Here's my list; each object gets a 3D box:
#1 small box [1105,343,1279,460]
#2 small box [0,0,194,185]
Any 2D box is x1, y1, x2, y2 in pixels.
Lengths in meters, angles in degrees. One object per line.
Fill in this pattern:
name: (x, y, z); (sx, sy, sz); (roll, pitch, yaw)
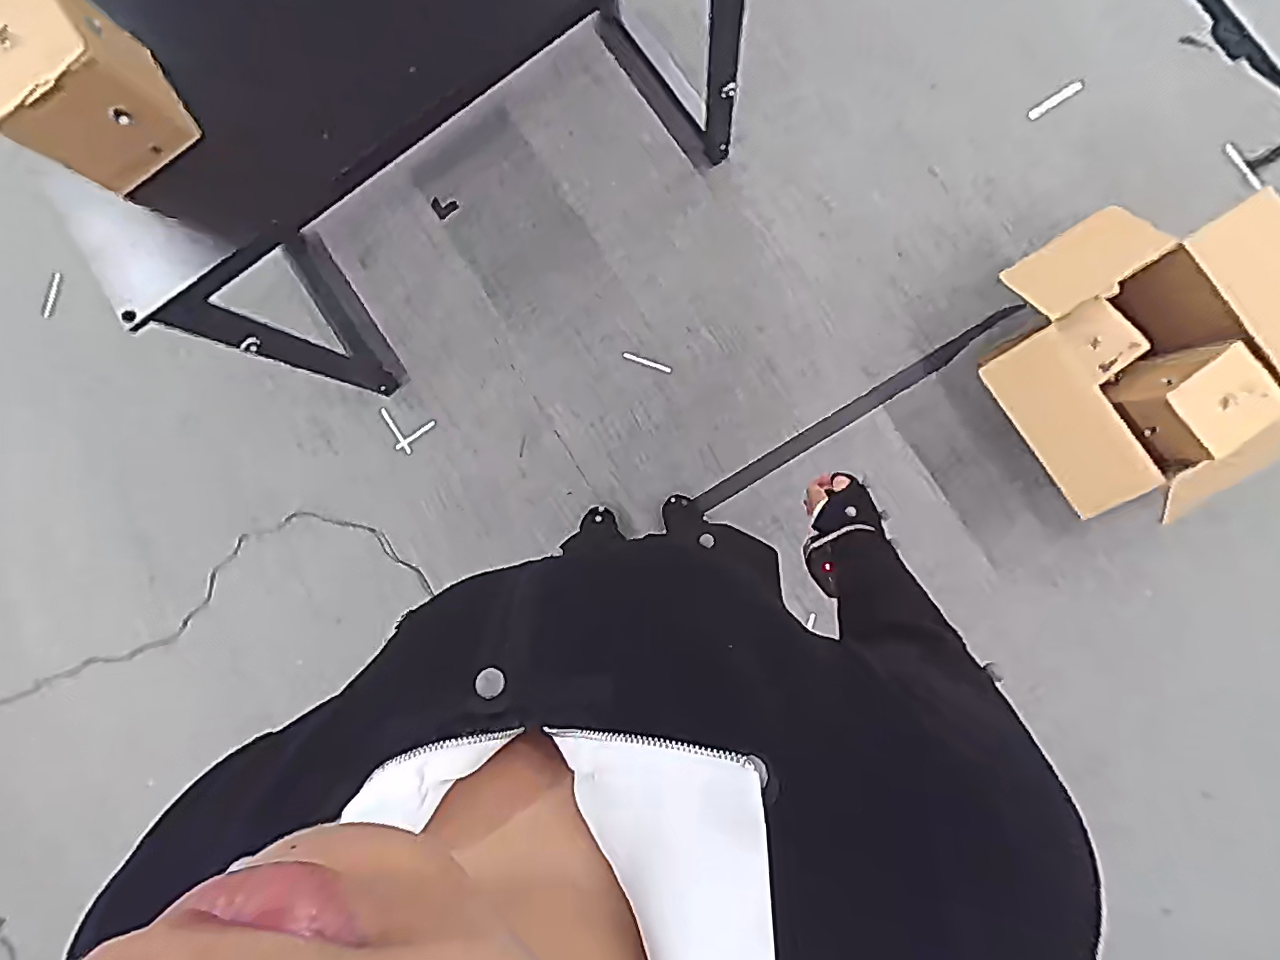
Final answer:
small box: (1.143, -0.155, 1.139); (0.179, 0.176, 0.168); (-39, 90, 4)
small box: (-0.803, -0.561, 0.770); (0.168, 0.176, 0.179); (-34, 85, 2)
